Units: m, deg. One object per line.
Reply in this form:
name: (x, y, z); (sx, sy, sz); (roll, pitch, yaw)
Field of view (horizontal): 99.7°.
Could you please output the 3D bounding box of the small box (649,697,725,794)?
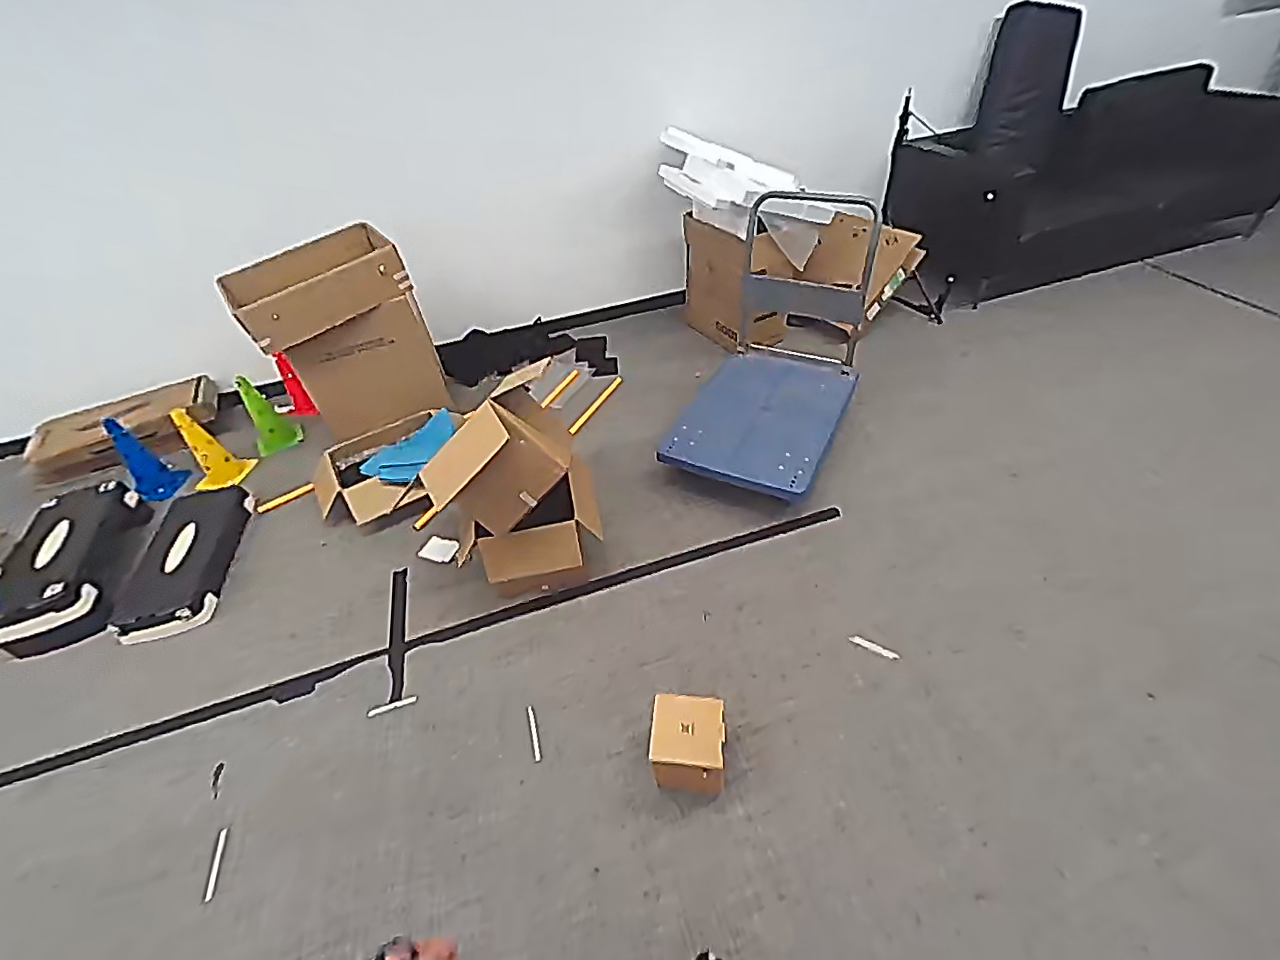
small box: (0.124, 0.672, 1.365); (0.179, 0.176, 0.168); (2, 42, 8)
